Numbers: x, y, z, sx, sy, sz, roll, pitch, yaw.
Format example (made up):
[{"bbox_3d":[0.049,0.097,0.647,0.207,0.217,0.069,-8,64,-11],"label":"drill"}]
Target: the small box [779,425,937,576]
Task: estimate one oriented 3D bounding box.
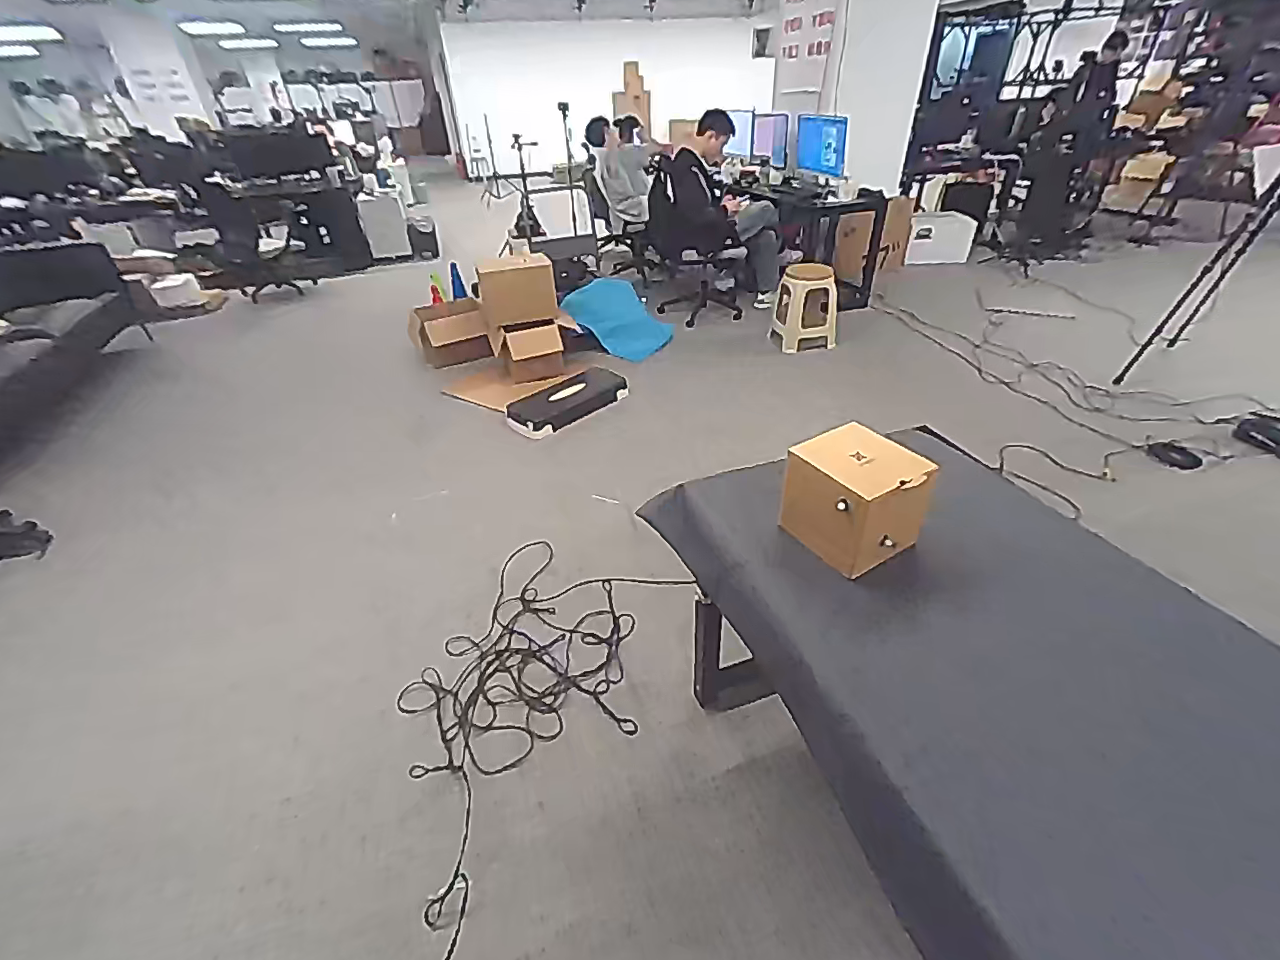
[{"bbox_3d":[0.362,0.032,0.933,0.168,0.176,0.179,-21,40,-24],"label":"small box"}]
